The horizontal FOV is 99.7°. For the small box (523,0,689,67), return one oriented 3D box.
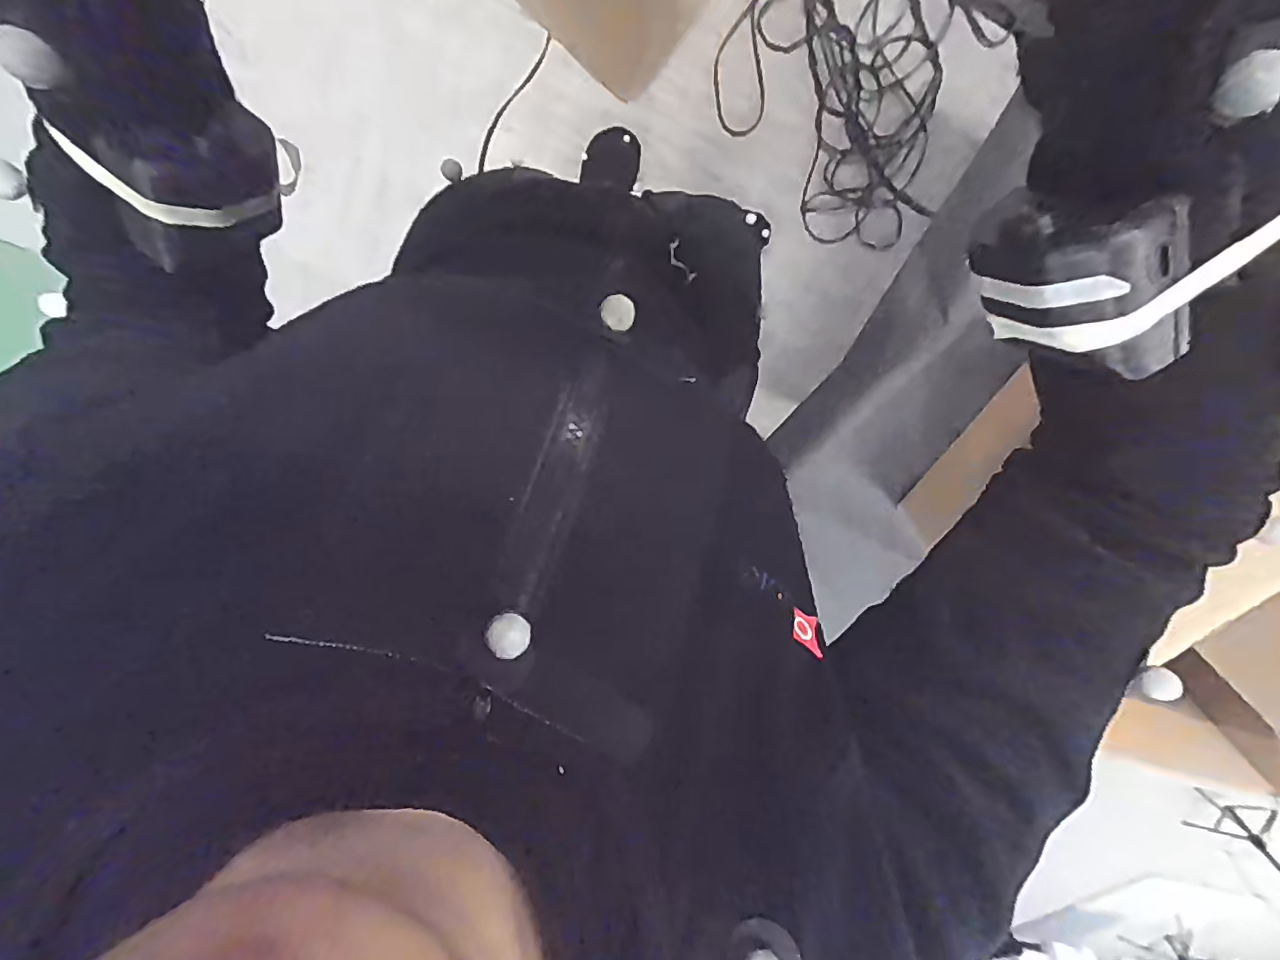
[{"bbox_3d":[-0.011,-0.187,0.053,0.168,0.176,0.179,32,114,-23],"label":"small box"}]

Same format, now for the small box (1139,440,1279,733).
[{"bbox_3d":[0.540,0.086,0.403,0.168,0.176,0.179,19,124,-14],"label":"small box"}]
